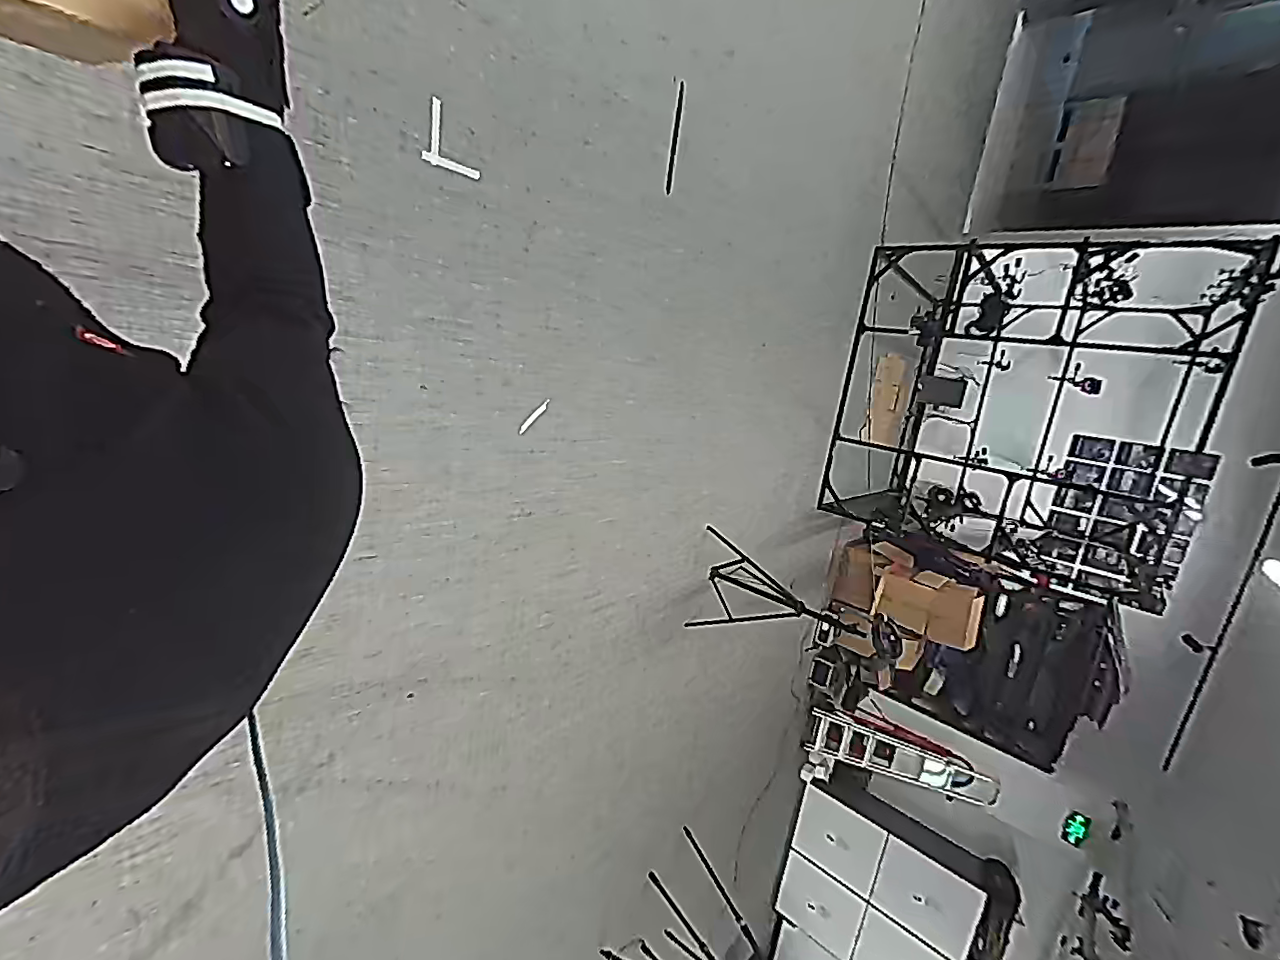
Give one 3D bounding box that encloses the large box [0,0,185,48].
[{"bbox_3d":[-0.534,-0.482,0.262,0.408,0.320,0.320,-14,125,-52],"label":"large box"}]
